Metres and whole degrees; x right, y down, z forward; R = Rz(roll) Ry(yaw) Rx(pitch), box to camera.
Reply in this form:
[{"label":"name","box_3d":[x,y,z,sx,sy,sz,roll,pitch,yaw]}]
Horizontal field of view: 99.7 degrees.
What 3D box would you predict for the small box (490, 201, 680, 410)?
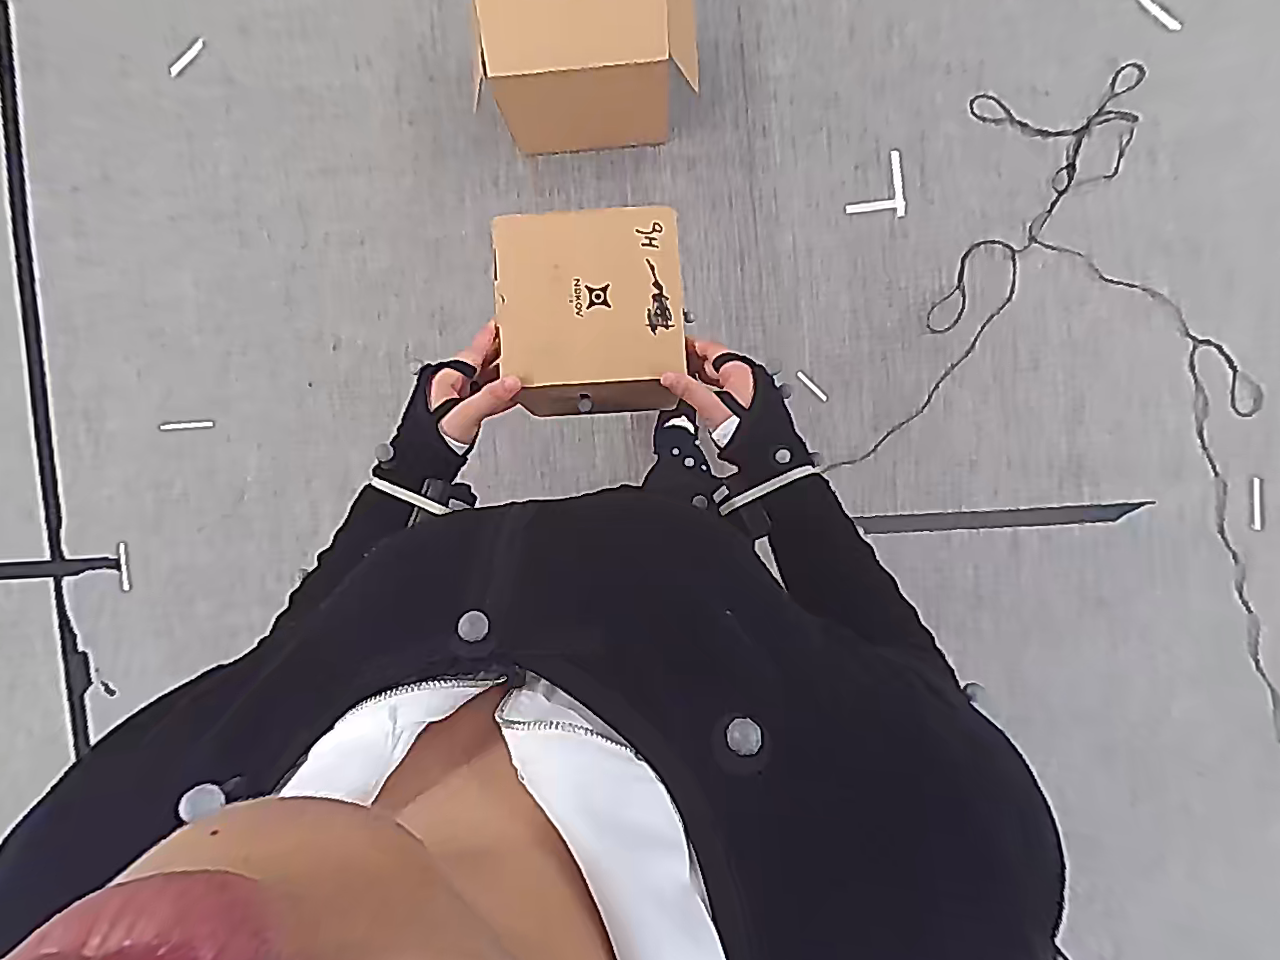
[{"label":"small box","box_3d":[-0.051,-0.173,0.587,0.179,0.176,0.168,-3,87,0]}]
